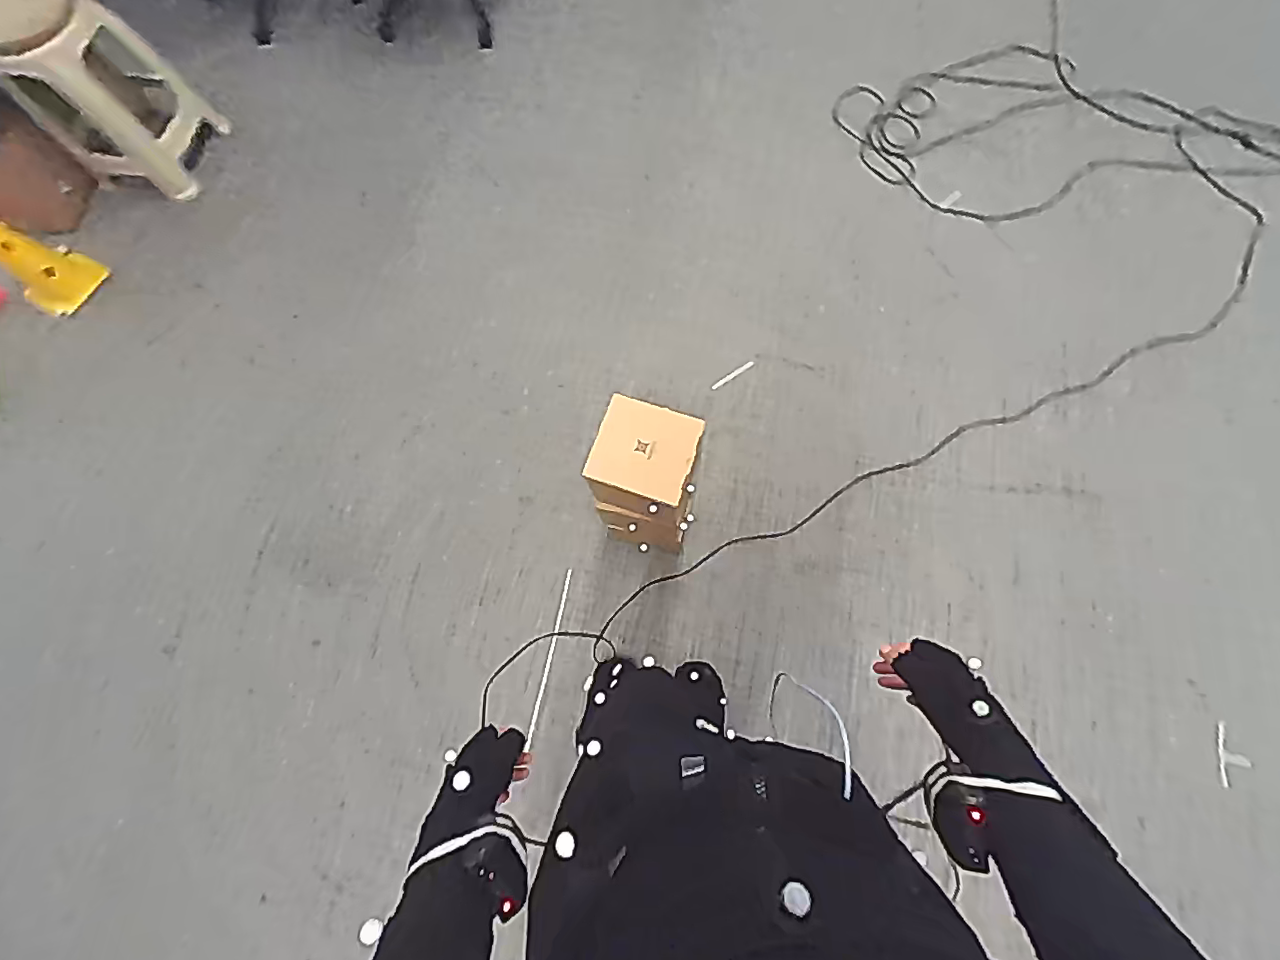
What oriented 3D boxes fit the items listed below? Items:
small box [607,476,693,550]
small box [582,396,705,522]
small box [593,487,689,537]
[{"bbox_3d":[0.024,0.069,1.327,0.179,0.176,0.168,10,72,4],"label":"small box"},{"bbox_3d":[0.010,-0.031,1.014,0.179,0.176,0.168,18,76,7],"label":"small box"},{"bbox_3d":[0.013,0.020,1.168,0.179,0.176,0.168,13,76,7],"label":"small box"}]
